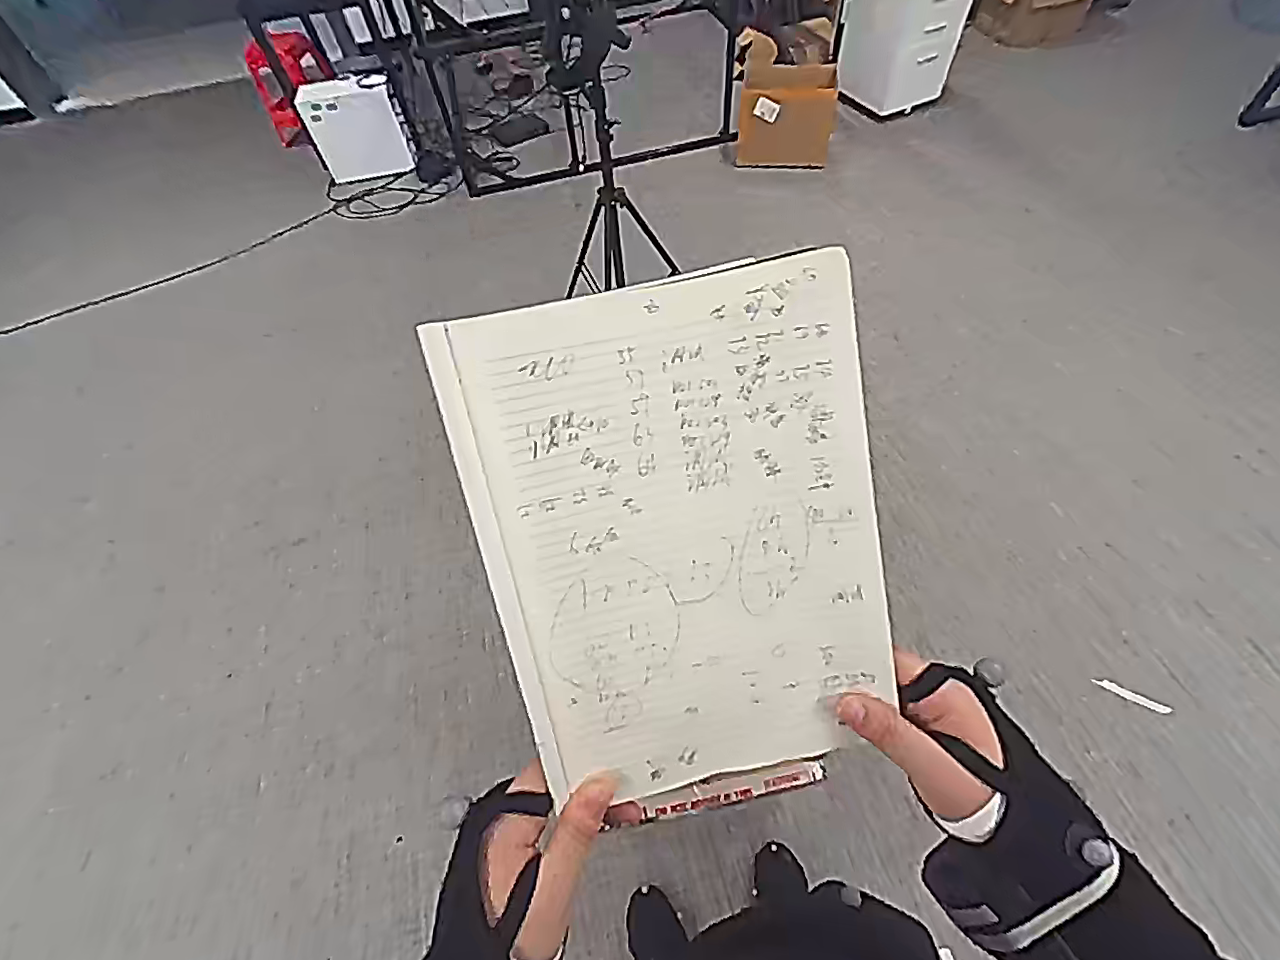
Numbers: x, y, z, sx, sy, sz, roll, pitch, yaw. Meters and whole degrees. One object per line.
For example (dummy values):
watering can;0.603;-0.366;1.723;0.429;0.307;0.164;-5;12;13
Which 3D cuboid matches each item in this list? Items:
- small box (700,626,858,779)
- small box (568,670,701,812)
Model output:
small box;0.204;0.353;0.852;0.179;0.176;0.168;-15;57;-7
small box;-0.006;0.404;0.834;0.179;0.176;0.168;-9;57;0
